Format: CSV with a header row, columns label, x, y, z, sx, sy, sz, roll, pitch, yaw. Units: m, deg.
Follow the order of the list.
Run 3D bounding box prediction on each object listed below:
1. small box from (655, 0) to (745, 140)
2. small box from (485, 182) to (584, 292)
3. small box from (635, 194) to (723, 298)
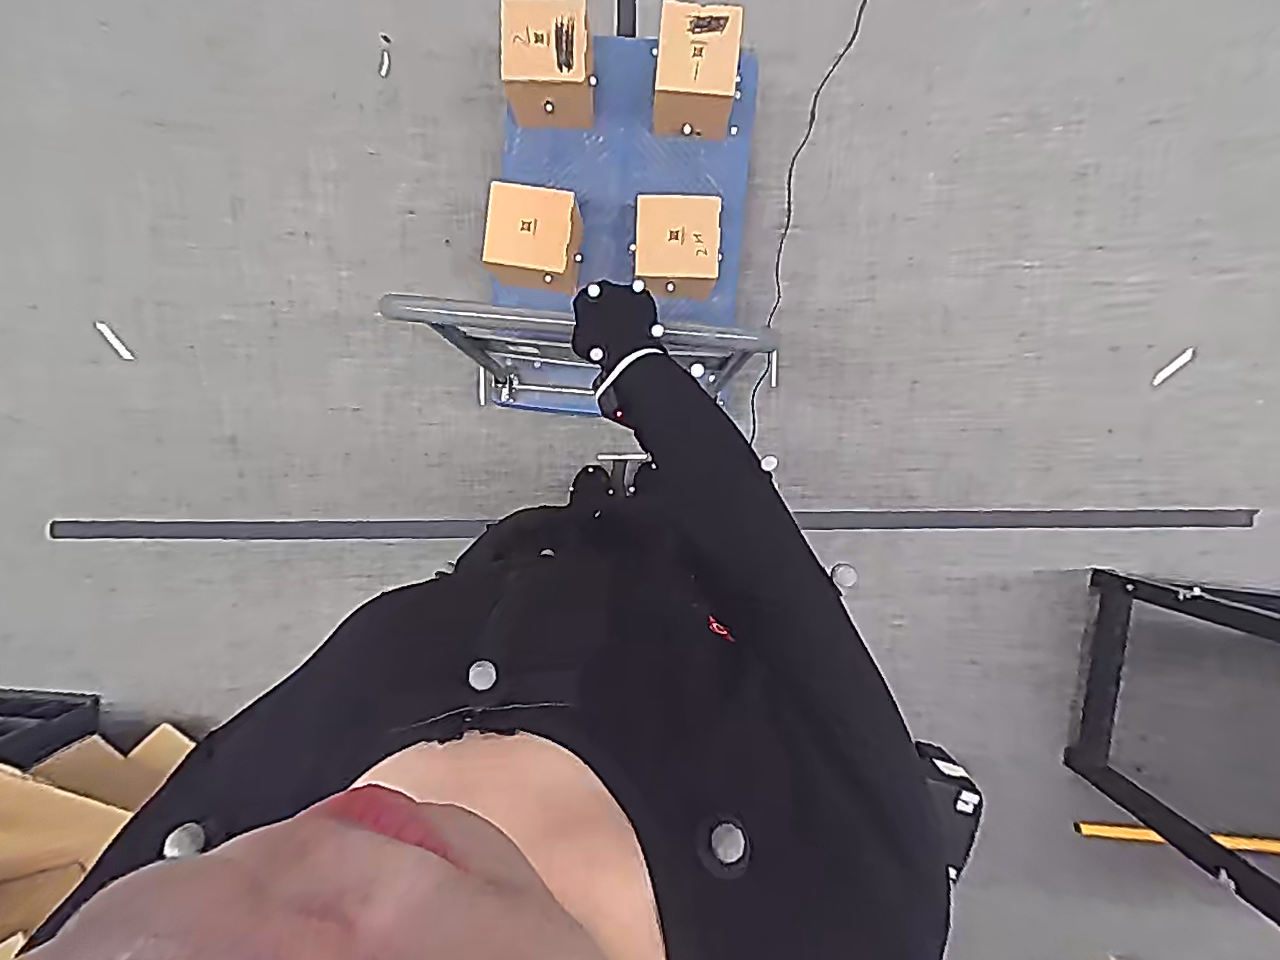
label,x,y,z,sx,sy,sz,roll,pitch,yaw
small box,0.123,-0.880,1.171,0.168,0.176,0.179,5,95,0
small box,-0.226,-0.528,1.197,0.179,0.176,0.168,7,93,-1
small box,0.083,-0.509,1.195,0.179,0.176,0.168,2,94,1
